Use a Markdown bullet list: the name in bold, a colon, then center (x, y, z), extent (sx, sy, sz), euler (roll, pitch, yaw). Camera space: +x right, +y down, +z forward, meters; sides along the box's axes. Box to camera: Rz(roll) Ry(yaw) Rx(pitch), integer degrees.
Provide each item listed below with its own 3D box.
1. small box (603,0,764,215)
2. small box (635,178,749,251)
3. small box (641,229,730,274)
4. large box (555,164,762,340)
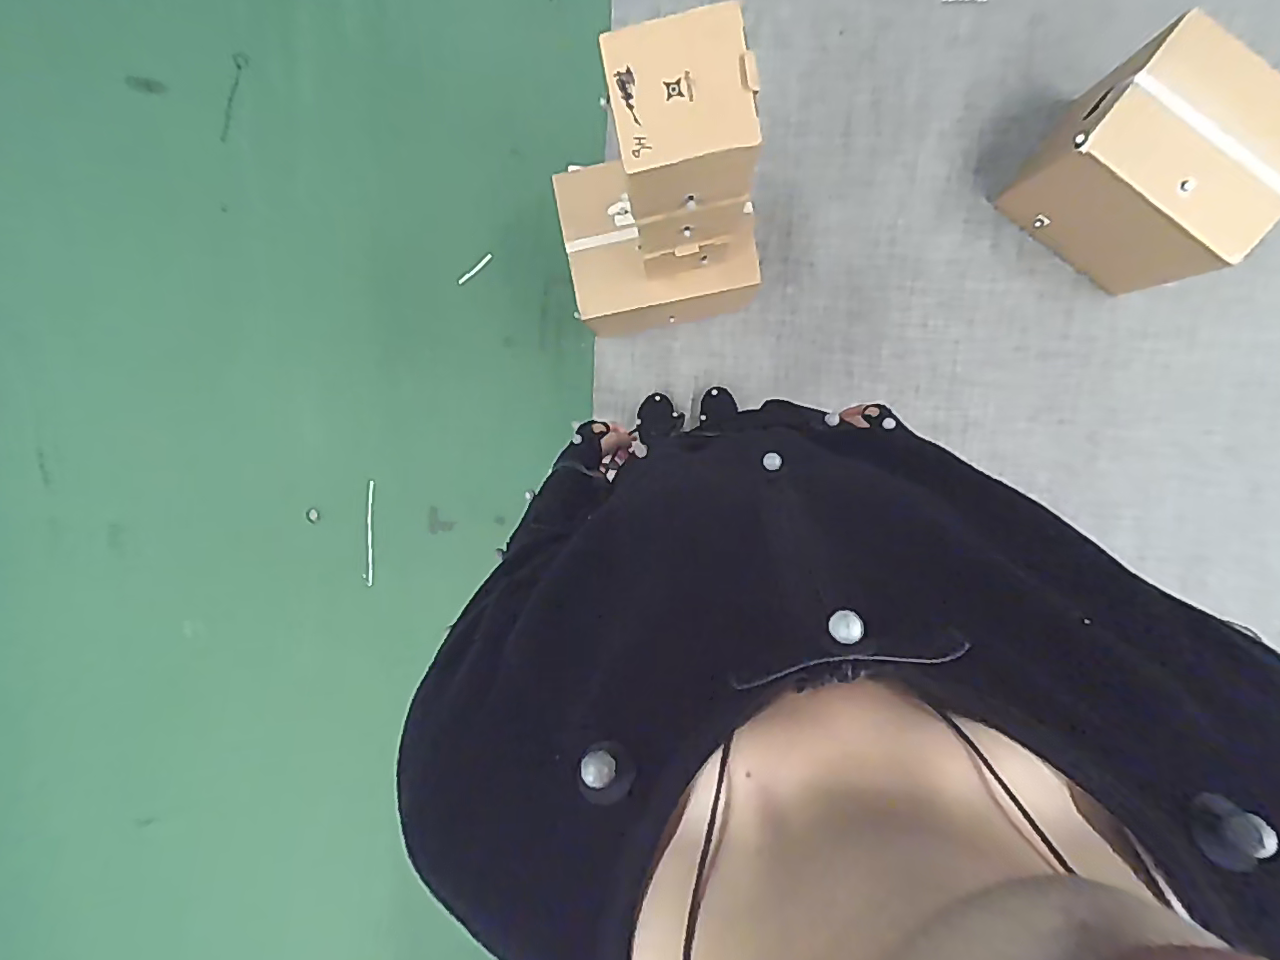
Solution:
- **small box**: center (0.055, -0.484, 0.729), extent (0.179, 0.176, 0.168), euler (-10, 96, 4)
- **small box**: center (0.070, -0.500, 0.893), extent (0.179, 0.176, 0.168), euler (-11, 96, 5)
- **small box**: center (0.078, -0.516, 1.055), extent (0.168, 0.176, 0.179), euler (-10, 96, 5)
- **large box**: center (0.052, -0.548, 1.300), extent (0.408, 0.320, 0.320), euler (-10, 94, 7)
